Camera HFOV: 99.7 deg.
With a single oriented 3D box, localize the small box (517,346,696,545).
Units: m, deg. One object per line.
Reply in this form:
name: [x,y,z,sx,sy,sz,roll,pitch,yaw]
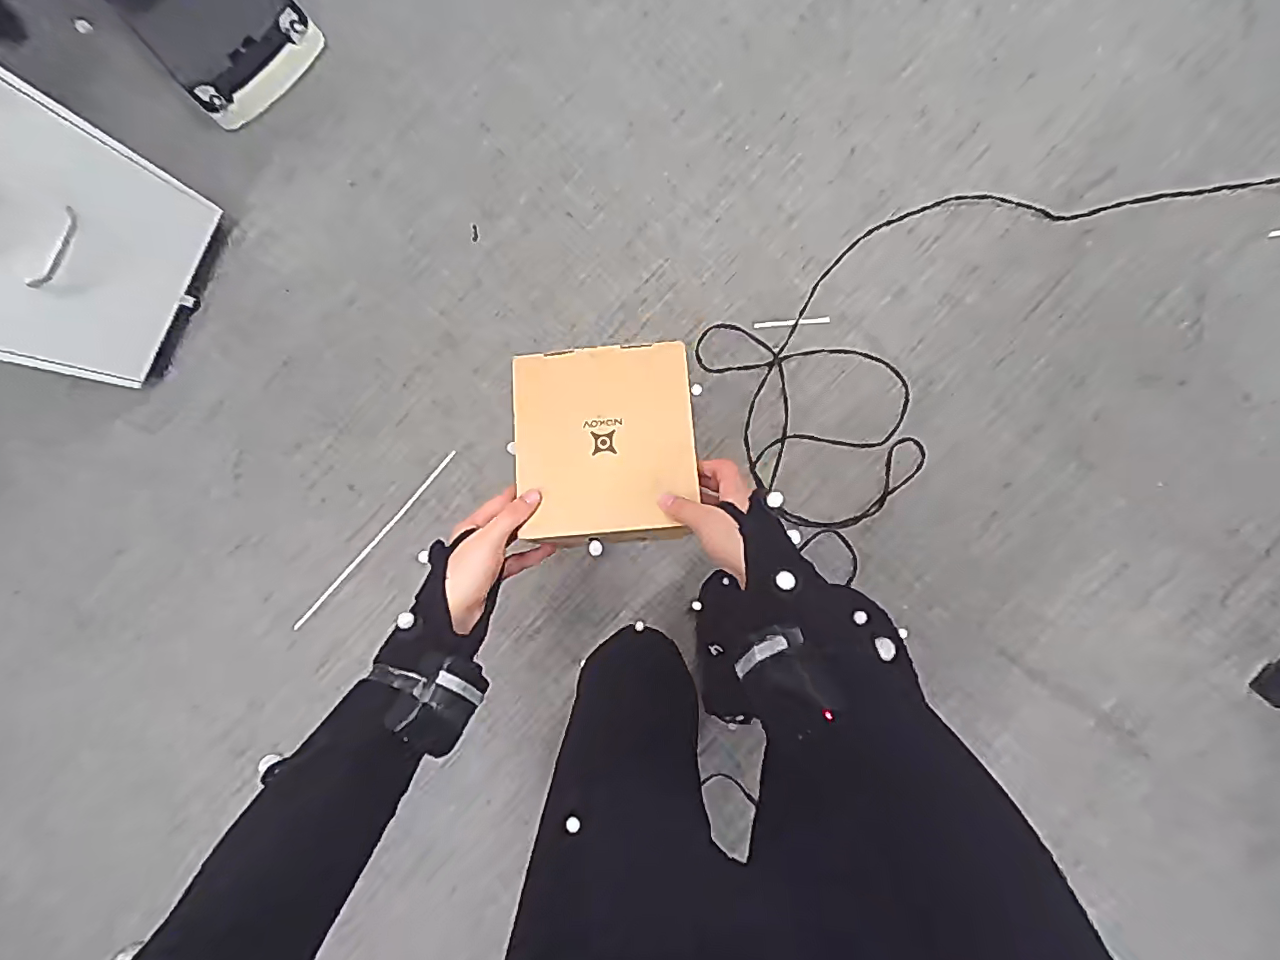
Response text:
small box: [-0.029,-0.023,0.588,0.168,0.176,0.179,-5,78,1]
